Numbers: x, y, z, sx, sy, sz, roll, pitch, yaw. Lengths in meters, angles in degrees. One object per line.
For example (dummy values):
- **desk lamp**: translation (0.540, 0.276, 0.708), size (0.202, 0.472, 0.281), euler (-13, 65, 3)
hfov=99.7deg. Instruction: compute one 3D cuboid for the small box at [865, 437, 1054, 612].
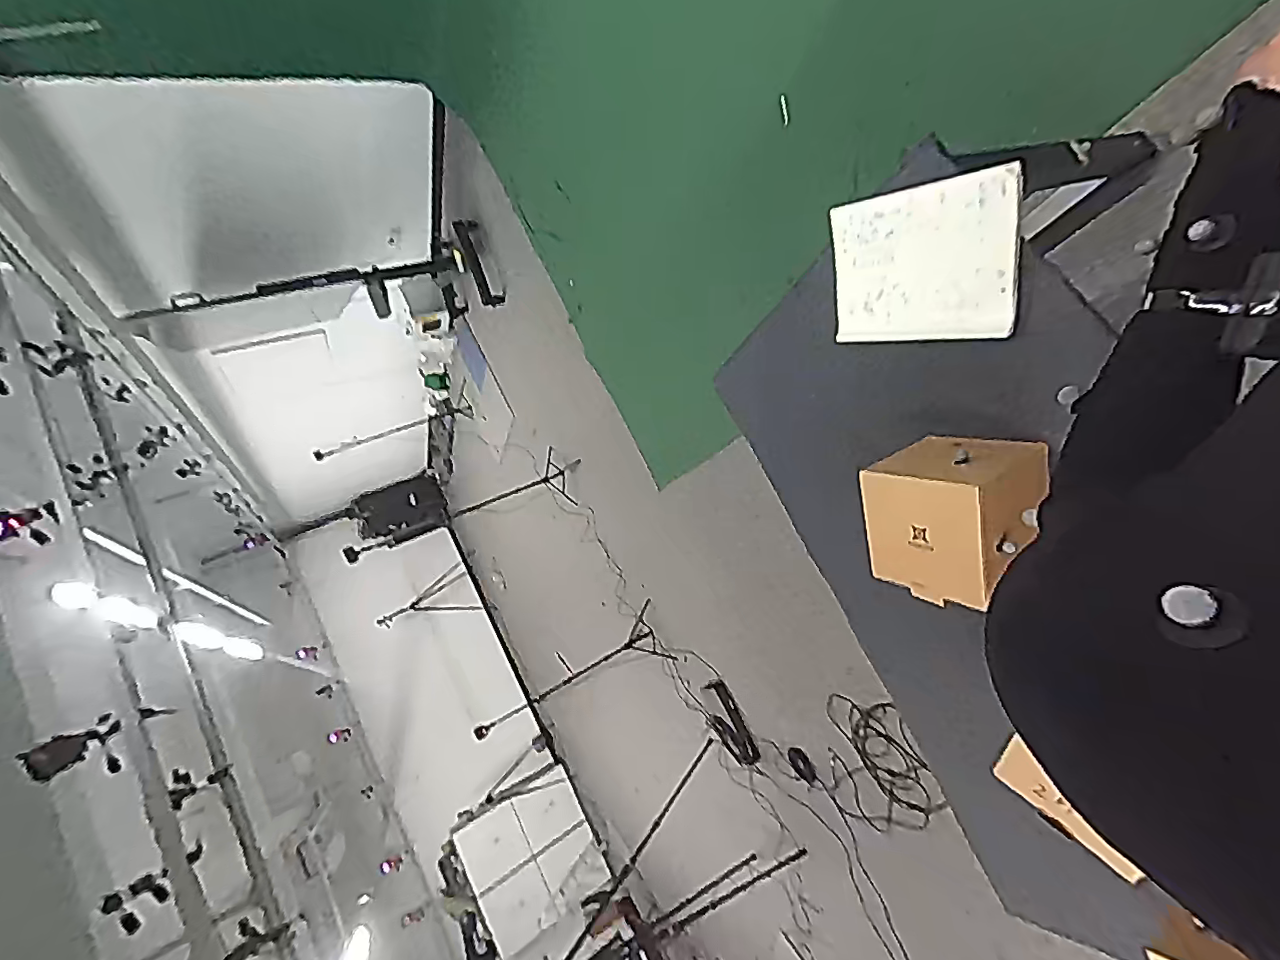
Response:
- **small box**: translation (0.444, 0.047, 0.752), size (0.168, 0.176, 0.179), euler (13, 122, 58)
